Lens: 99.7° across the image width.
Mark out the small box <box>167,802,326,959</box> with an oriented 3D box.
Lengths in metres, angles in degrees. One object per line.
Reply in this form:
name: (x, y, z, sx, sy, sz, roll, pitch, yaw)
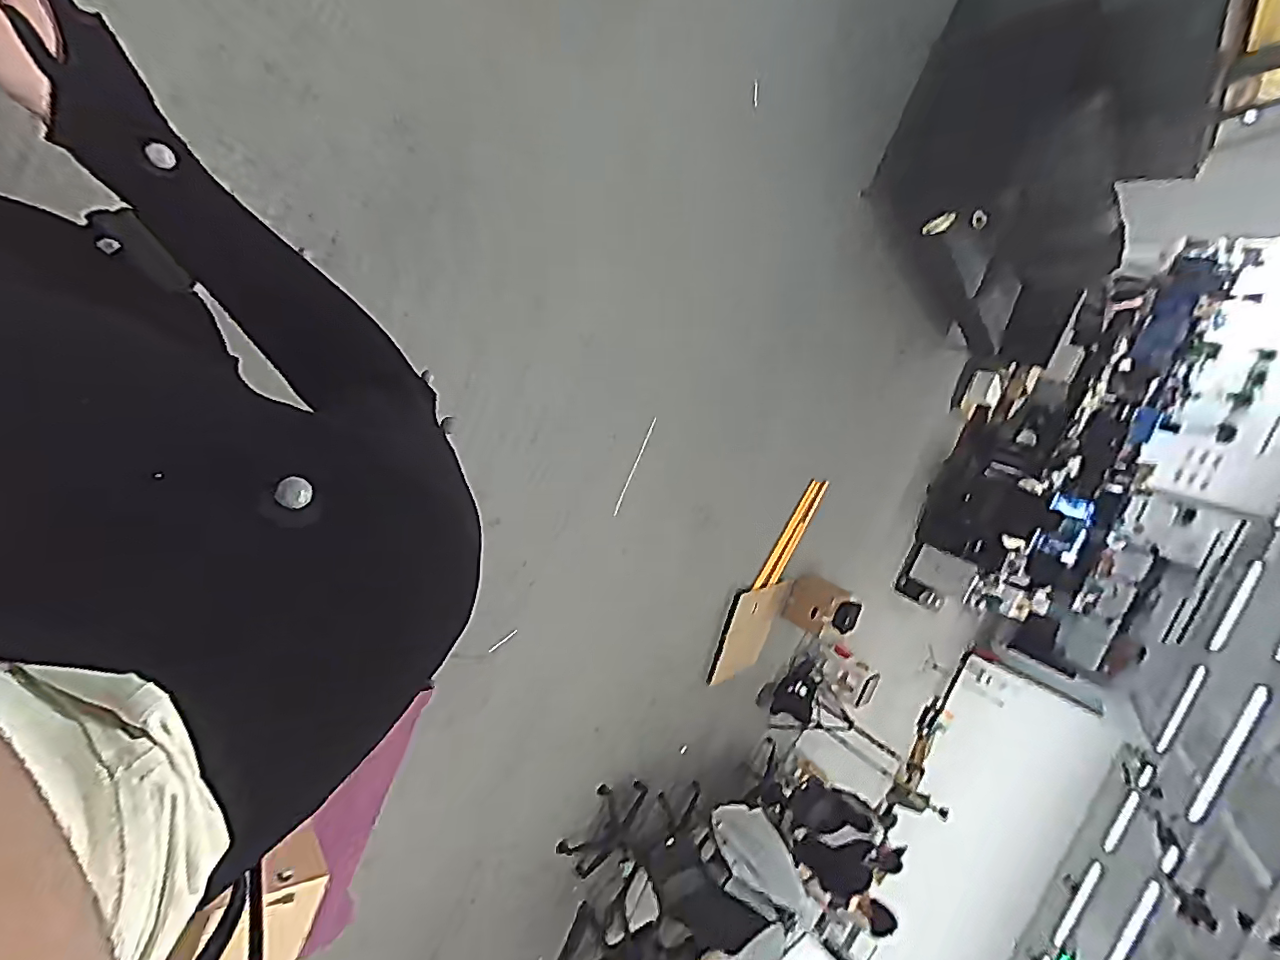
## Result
small box: (-0.672, 0.696, 0.918, 0.168, 0.176, 0.179, 19, 97, -50)
